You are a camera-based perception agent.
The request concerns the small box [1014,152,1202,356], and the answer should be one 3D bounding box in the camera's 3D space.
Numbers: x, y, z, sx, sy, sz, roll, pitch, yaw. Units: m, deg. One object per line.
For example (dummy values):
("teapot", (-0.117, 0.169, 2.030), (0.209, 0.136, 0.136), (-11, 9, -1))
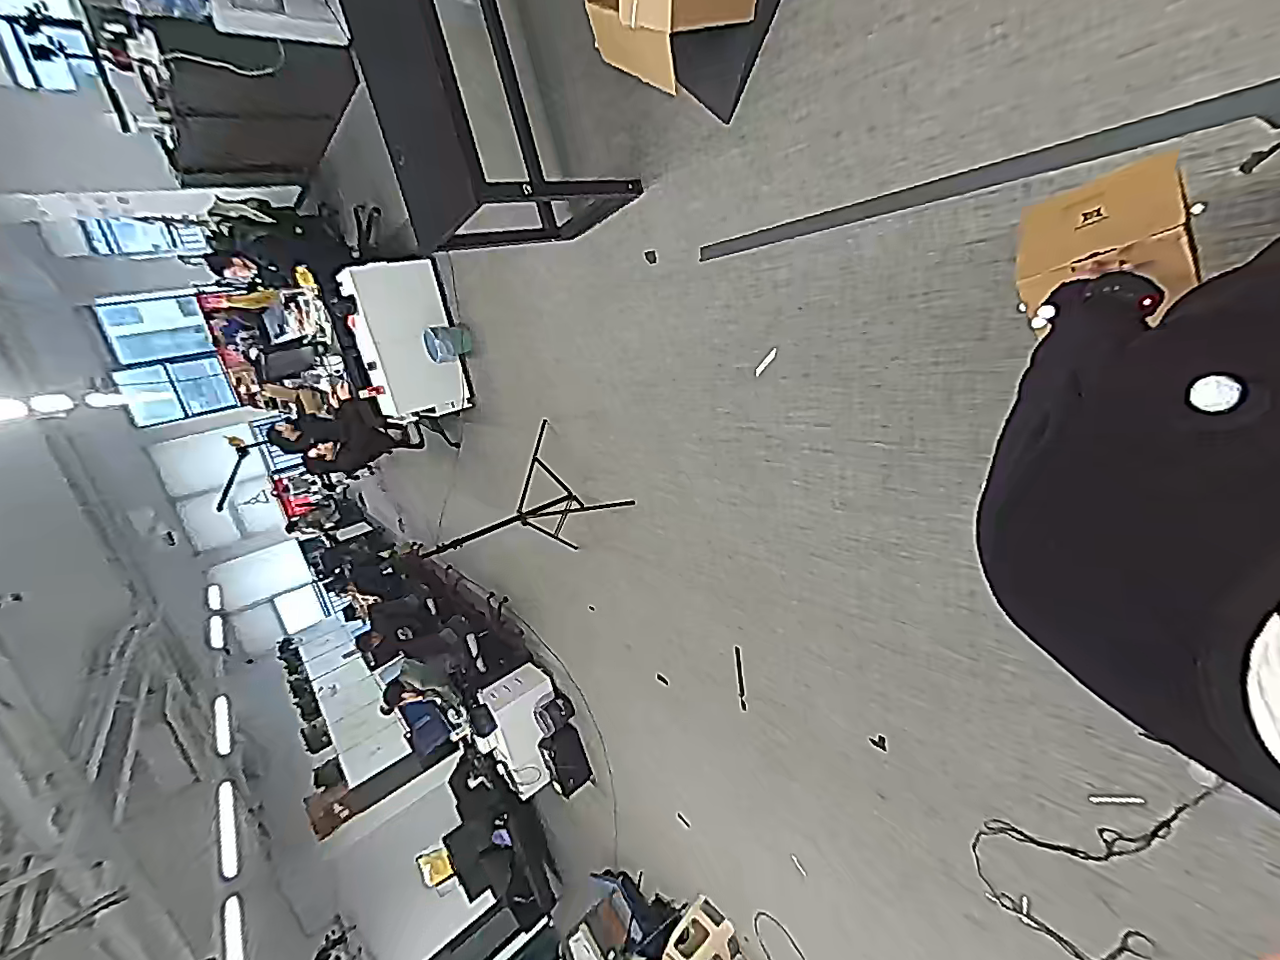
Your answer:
("small box", (0.643, -0.293, 0.746), (0.168, 0.179, 0.176), (-9, 136, 48))
